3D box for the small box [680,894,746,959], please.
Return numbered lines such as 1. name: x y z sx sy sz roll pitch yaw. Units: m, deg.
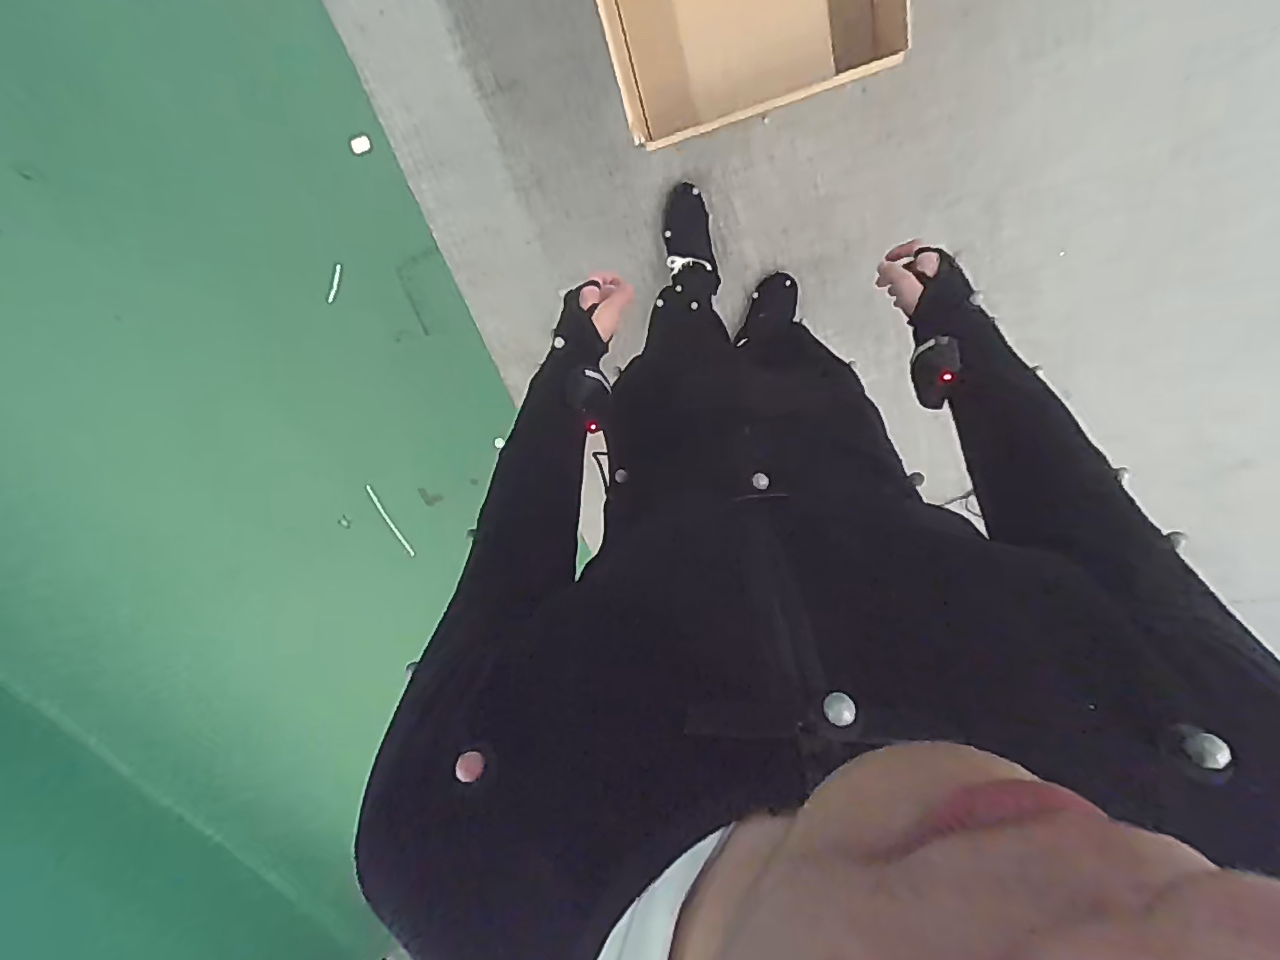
1. small box: 0.213 1.339 1.576 0.168 0.176 0.179 -11 120 13
